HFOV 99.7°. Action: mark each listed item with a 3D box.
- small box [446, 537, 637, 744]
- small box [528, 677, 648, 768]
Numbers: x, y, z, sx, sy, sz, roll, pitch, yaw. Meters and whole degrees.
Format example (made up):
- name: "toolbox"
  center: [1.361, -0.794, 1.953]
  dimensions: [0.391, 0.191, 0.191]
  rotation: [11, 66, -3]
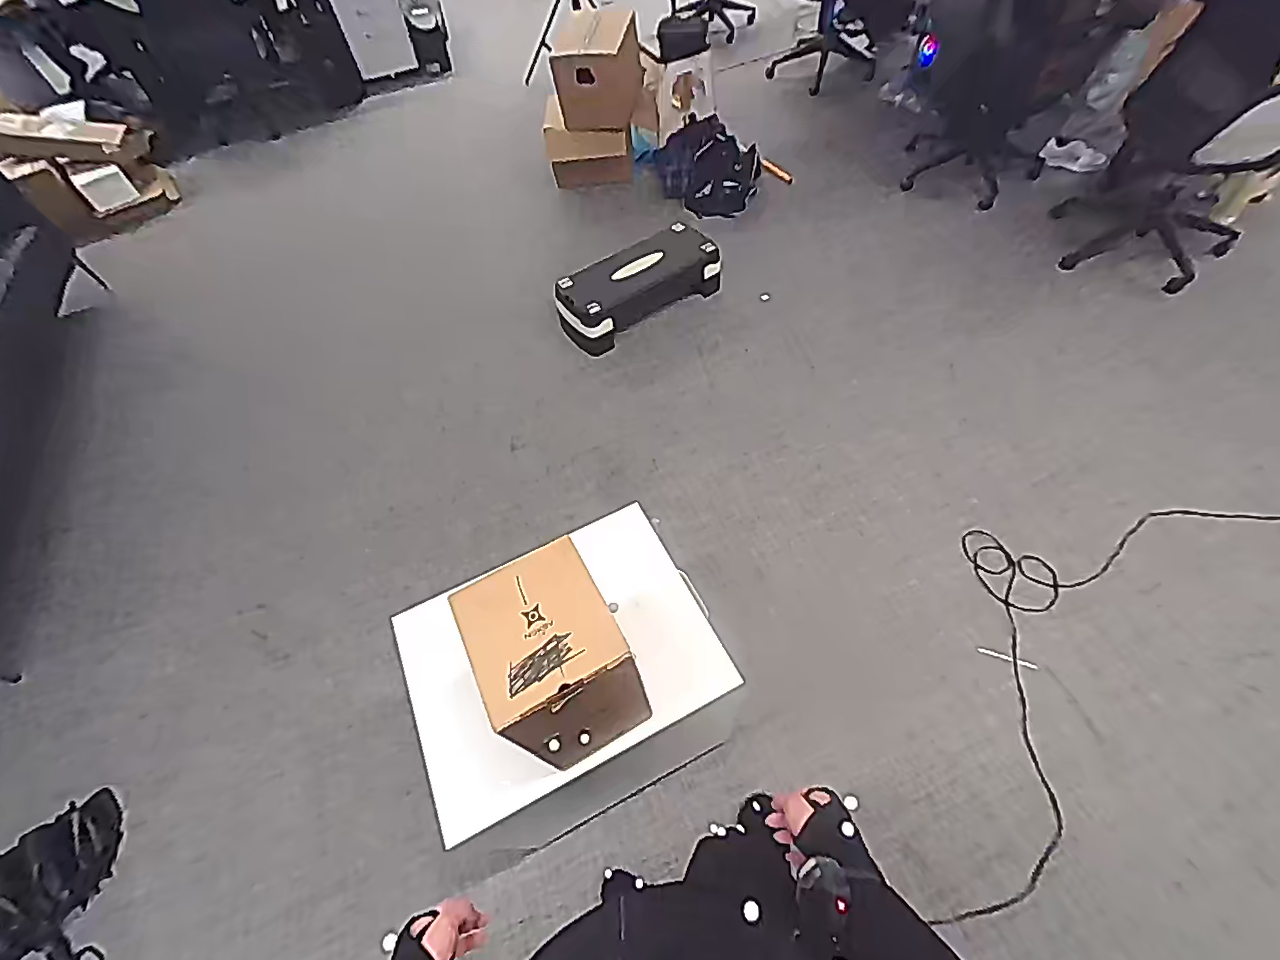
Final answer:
- name: "small box"
  center: [-0.116, 0.211, 0.686]
  dimensions: [0.168, 0.176, 0.179]
  rotation: [-27, 56, -13]
- name: "small box"
  center: [-0.102, 0.304, 0.821]
  dimensions: [0.168, 0.176, 0.179]
  rotation: [-28, 56, -12]
